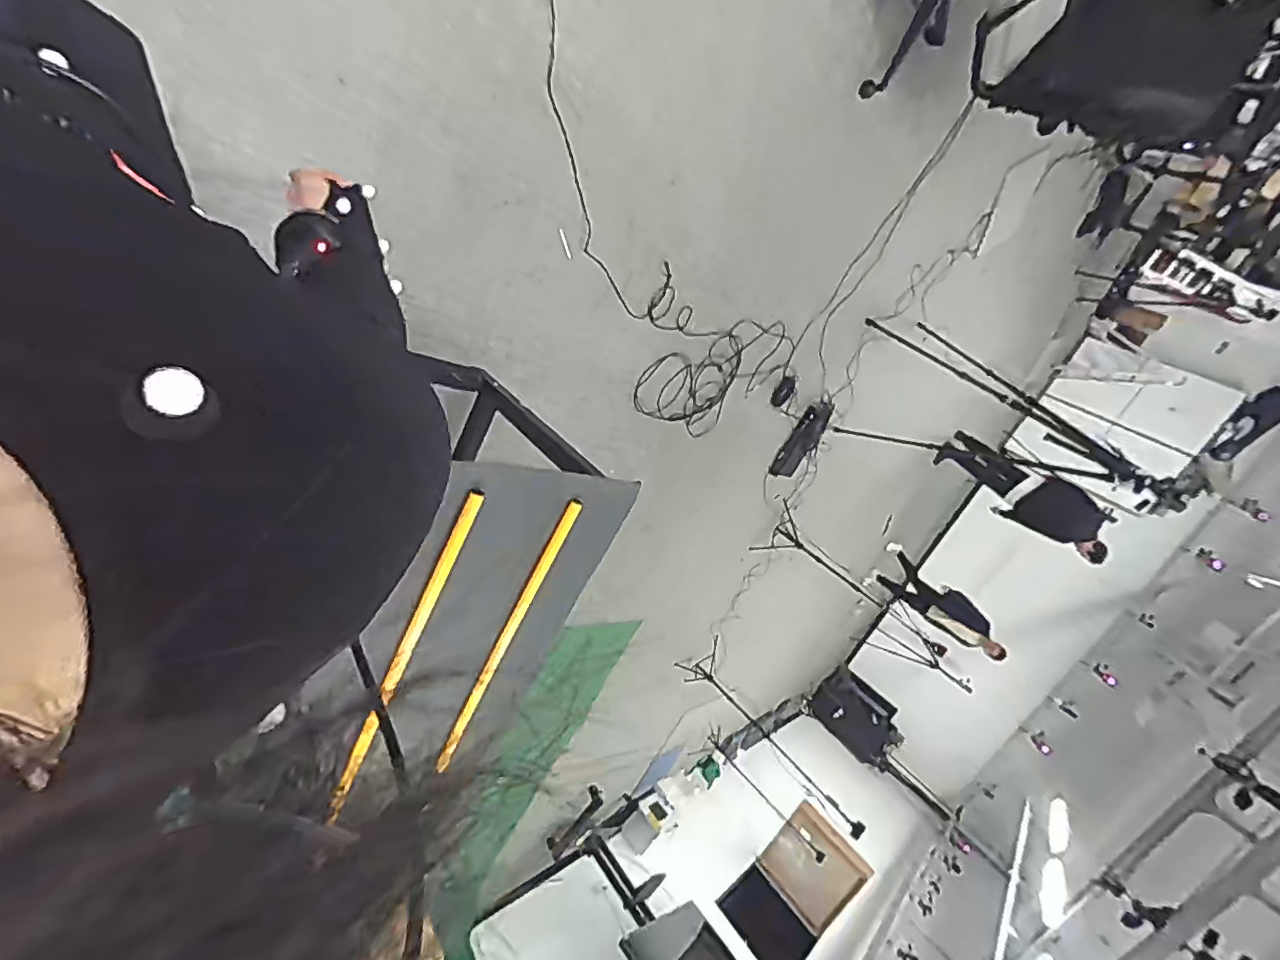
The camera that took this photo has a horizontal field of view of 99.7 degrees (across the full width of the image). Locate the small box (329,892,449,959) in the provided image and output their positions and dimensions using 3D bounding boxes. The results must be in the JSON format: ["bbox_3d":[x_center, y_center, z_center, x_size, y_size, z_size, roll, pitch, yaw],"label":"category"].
[{"bbox_3d":[-0.564,1.066,1.201,0.168,0.176,0.179,15,110,-52],"label":"small box"}]
